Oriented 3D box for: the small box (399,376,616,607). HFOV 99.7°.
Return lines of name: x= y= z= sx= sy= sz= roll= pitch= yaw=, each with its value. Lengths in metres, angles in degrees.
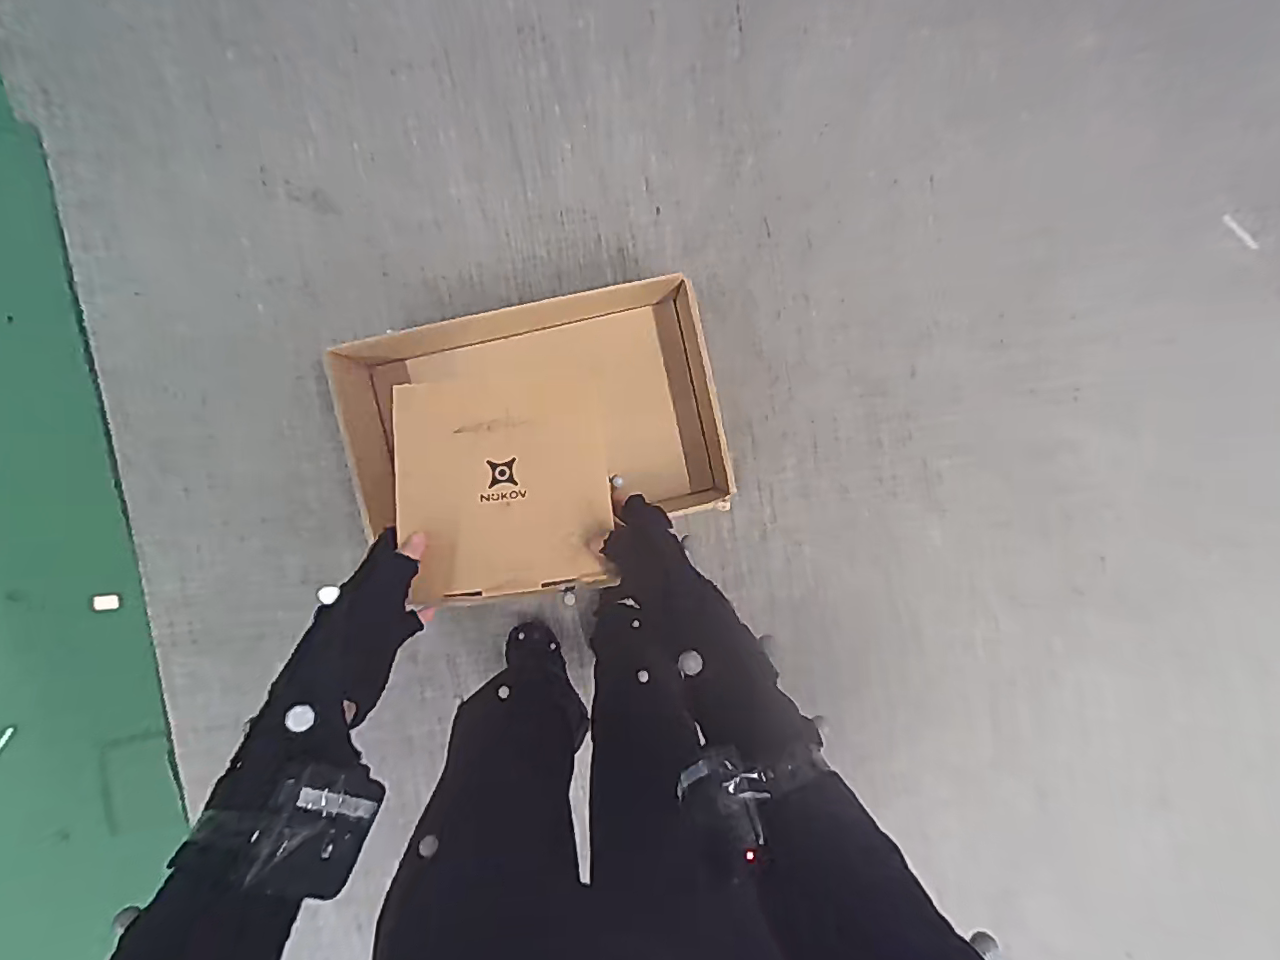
small box: x=-0.112 y=0.022 z=0.512 sx=0.168 sy=0.176 sz=0.179 roll=-7 pitch=76 yaw=-5
